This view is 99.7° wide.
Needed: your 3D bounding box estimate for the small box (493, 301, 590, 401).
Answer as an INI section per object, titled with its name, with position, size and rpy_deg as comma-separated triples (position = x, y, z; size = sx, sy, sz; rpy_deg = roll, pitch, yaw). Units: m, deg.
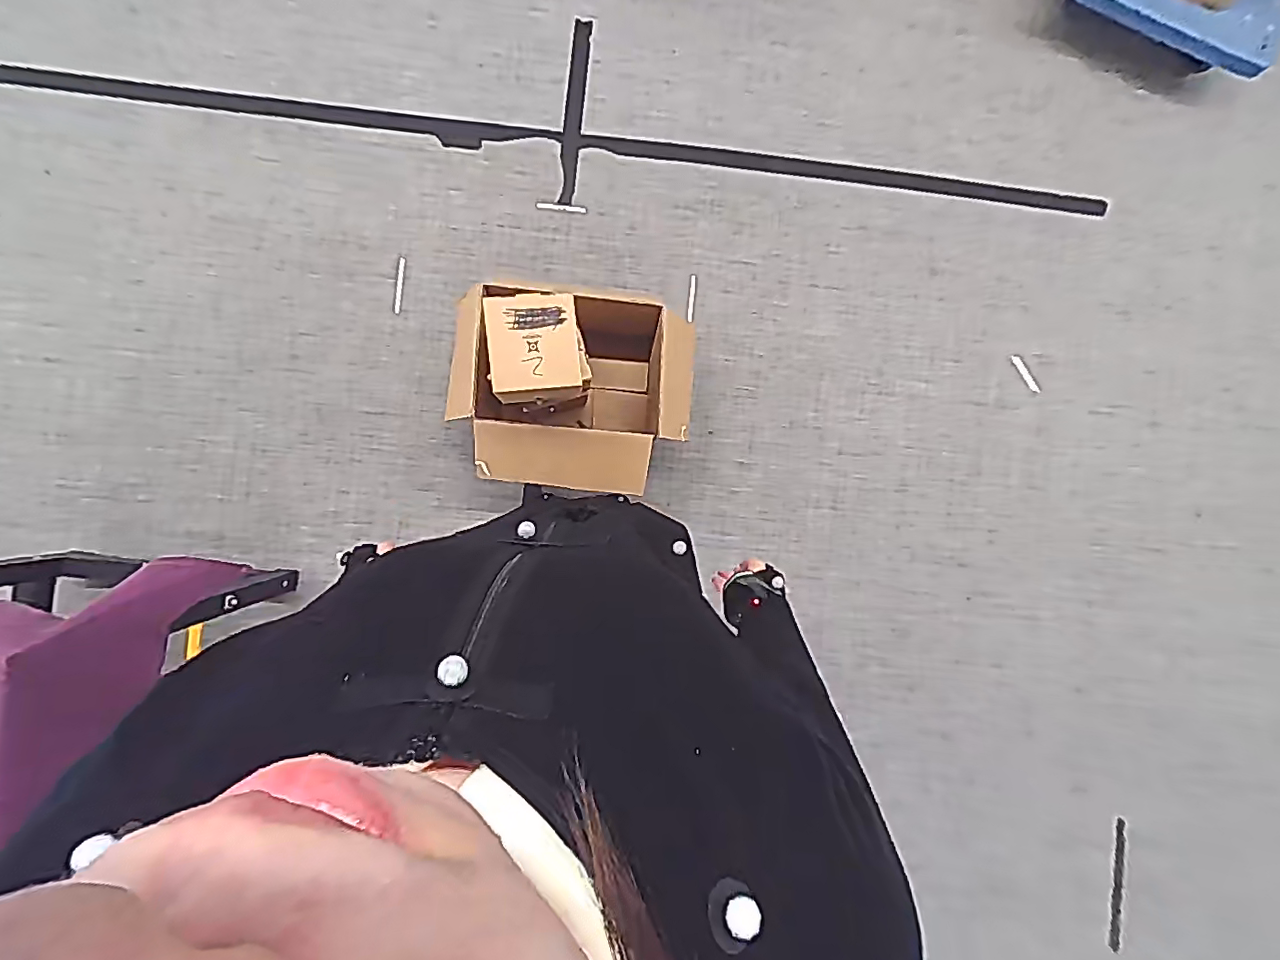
[small box]
position = -0.218, -0.285, 1.232
size = 0.179, 0.176, 0.168
rpy_deg = -16, 93, -7
